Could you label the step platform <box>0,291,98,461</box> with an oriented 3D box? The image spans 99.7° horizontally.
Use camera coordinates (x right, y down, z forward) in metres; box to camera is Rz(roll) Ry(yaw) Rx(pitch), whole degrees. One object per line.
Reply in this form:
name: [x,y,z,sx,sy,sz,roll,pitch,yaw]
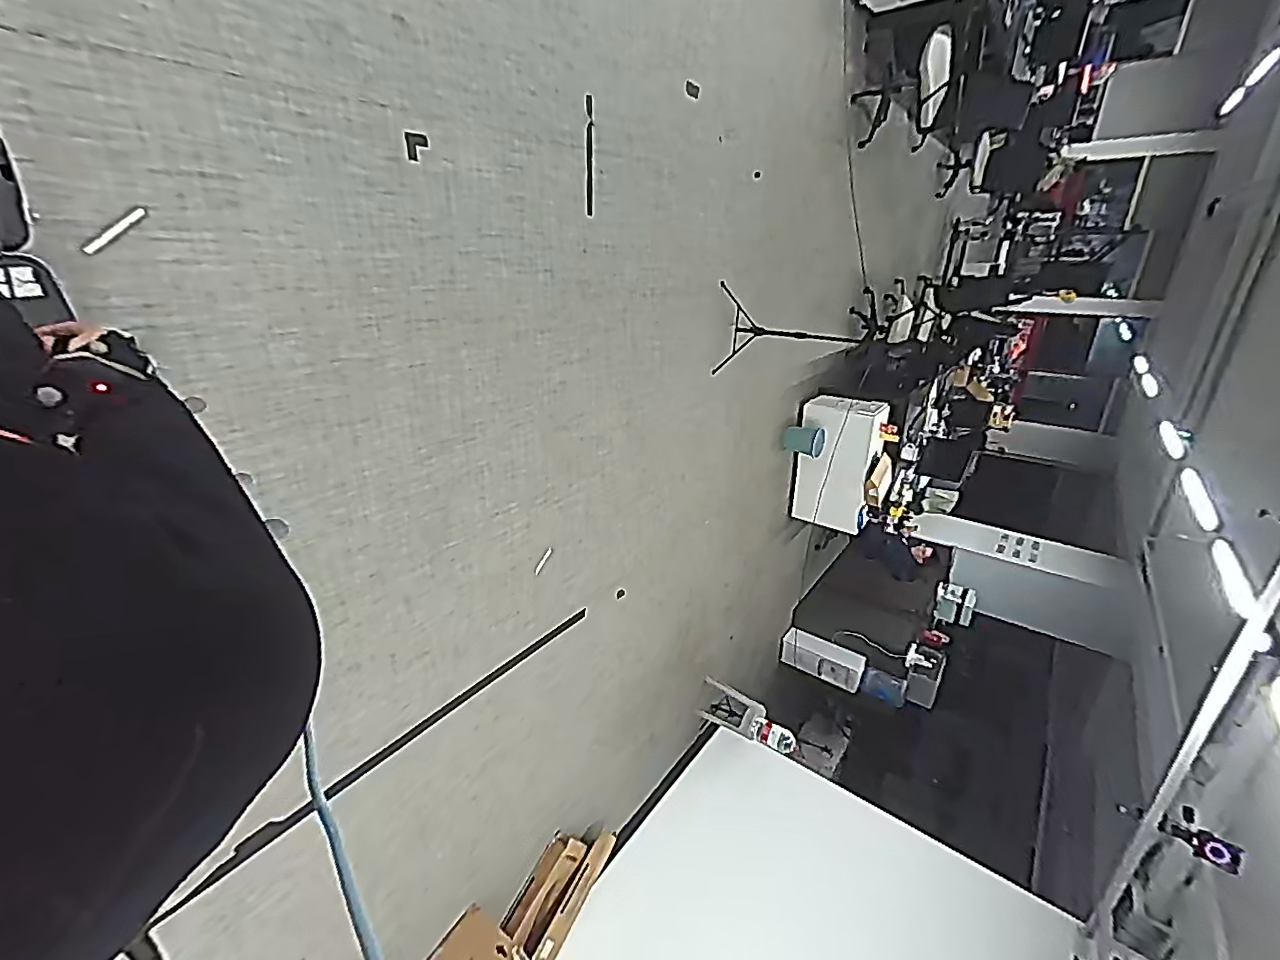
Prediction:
step platform: [-1.281,-0.138,0.793,0.684,0.204,0.286,-19,117,-48]
